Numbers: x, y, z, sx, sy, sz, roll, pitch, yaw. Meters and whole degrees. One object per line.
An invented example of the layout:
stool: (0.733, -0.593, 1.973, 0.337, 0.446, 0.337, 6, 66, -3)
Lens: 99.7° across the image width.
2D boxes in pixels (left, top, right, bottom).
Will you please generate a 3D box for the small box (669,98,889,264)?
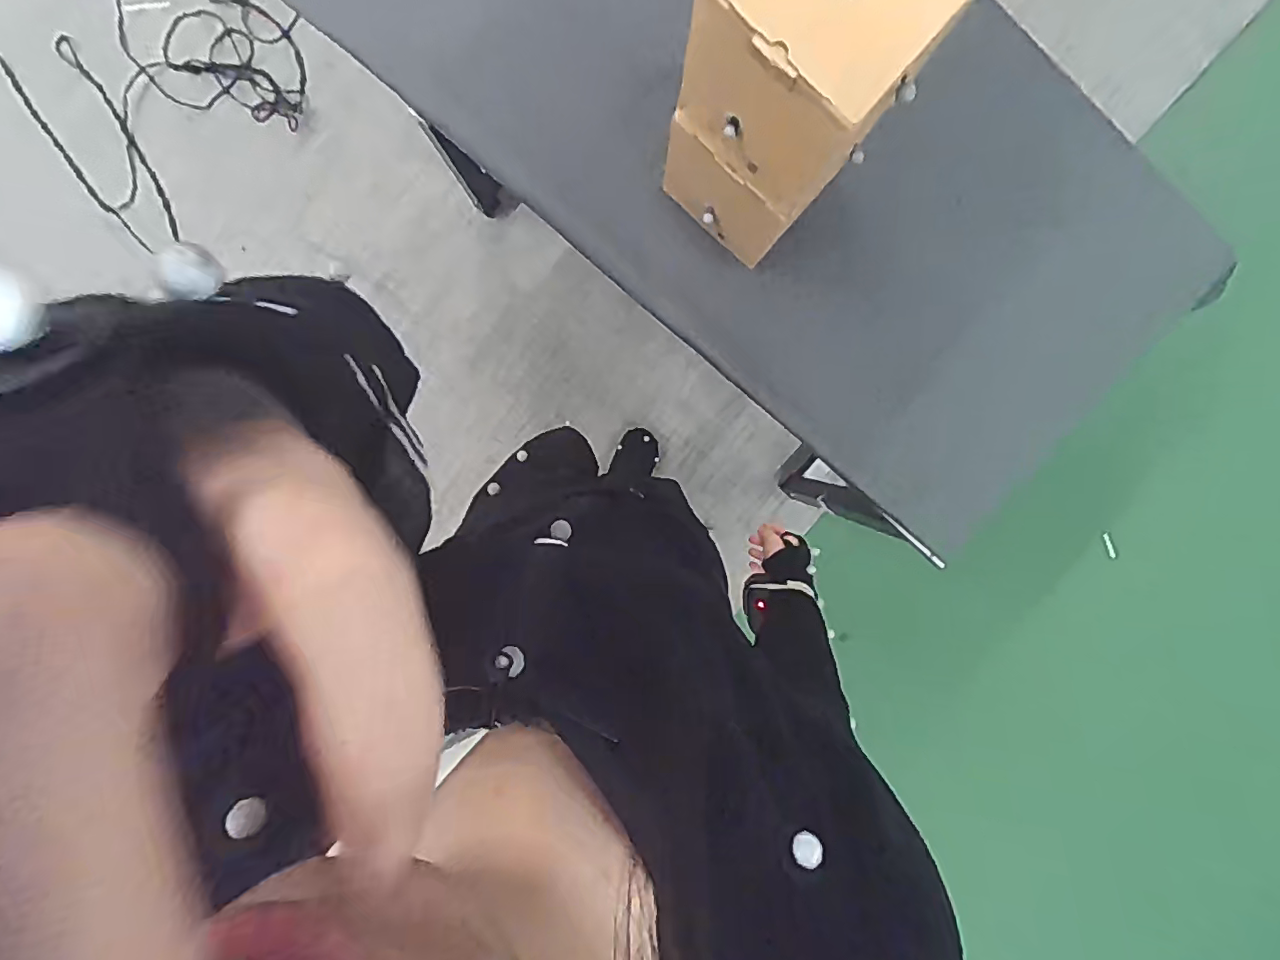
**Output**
small box: (0.149, -0.402, 0.654, 0.168, 0.176, 0.179, 42, 92, -4)

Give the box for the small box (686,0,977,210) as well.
small box: (0.160, -0.394, 0.493, 0.168, 0.176, 0.179, 41, 92, -5)
